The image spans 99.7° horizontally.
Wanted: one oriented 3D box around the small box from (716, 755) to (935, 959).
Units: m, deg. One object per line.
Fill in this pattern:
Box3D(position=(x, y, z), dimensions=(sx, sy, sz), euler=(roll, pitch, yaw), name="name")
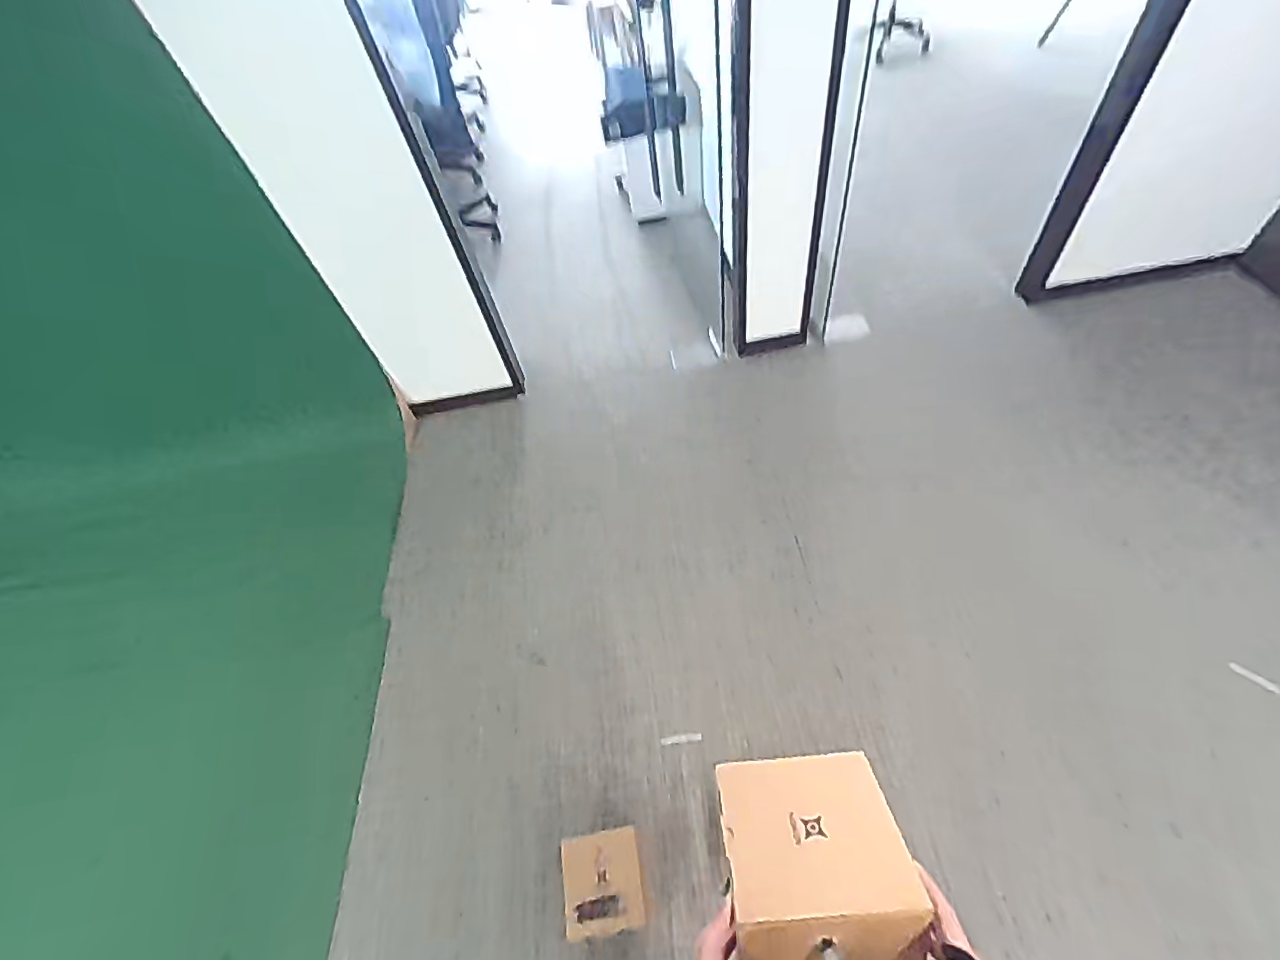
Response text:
Box3D(position=(0.181, 0.428, 0.575), dimensions=(0.179, 0.176, 0.168), euler=(-8, 23, 3), name="small box")
